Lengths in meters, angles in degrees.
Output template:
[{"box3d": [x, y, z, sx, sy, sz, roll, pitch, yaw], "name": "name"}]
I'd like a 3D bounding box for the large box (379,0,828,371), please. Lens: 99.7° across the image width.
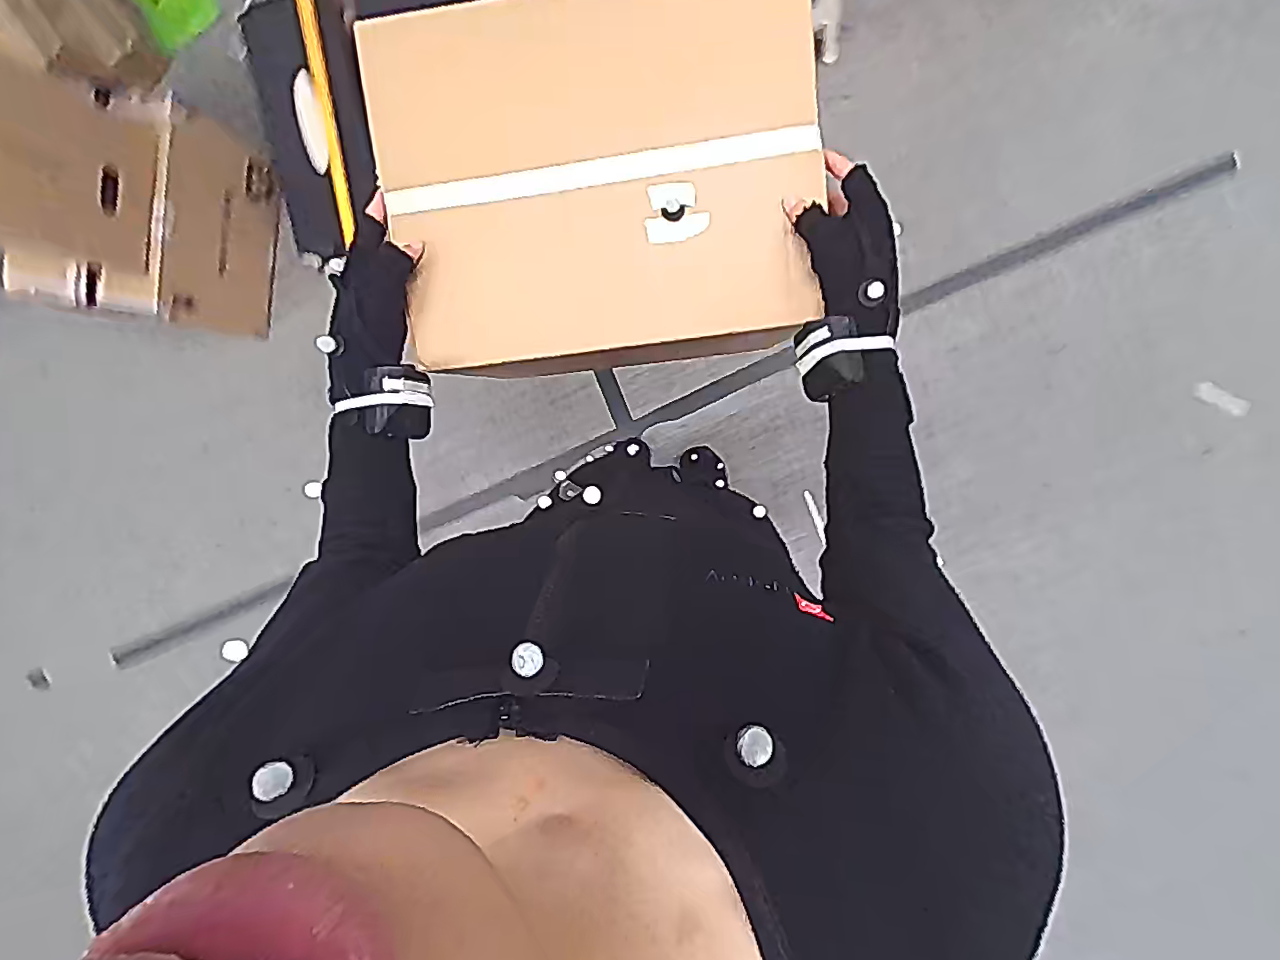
[{"box3d": [-0.026, -0.316, 0.655, 0.408, 0.320, 0.320, -5, 99, 4], "name": "large box"}]
